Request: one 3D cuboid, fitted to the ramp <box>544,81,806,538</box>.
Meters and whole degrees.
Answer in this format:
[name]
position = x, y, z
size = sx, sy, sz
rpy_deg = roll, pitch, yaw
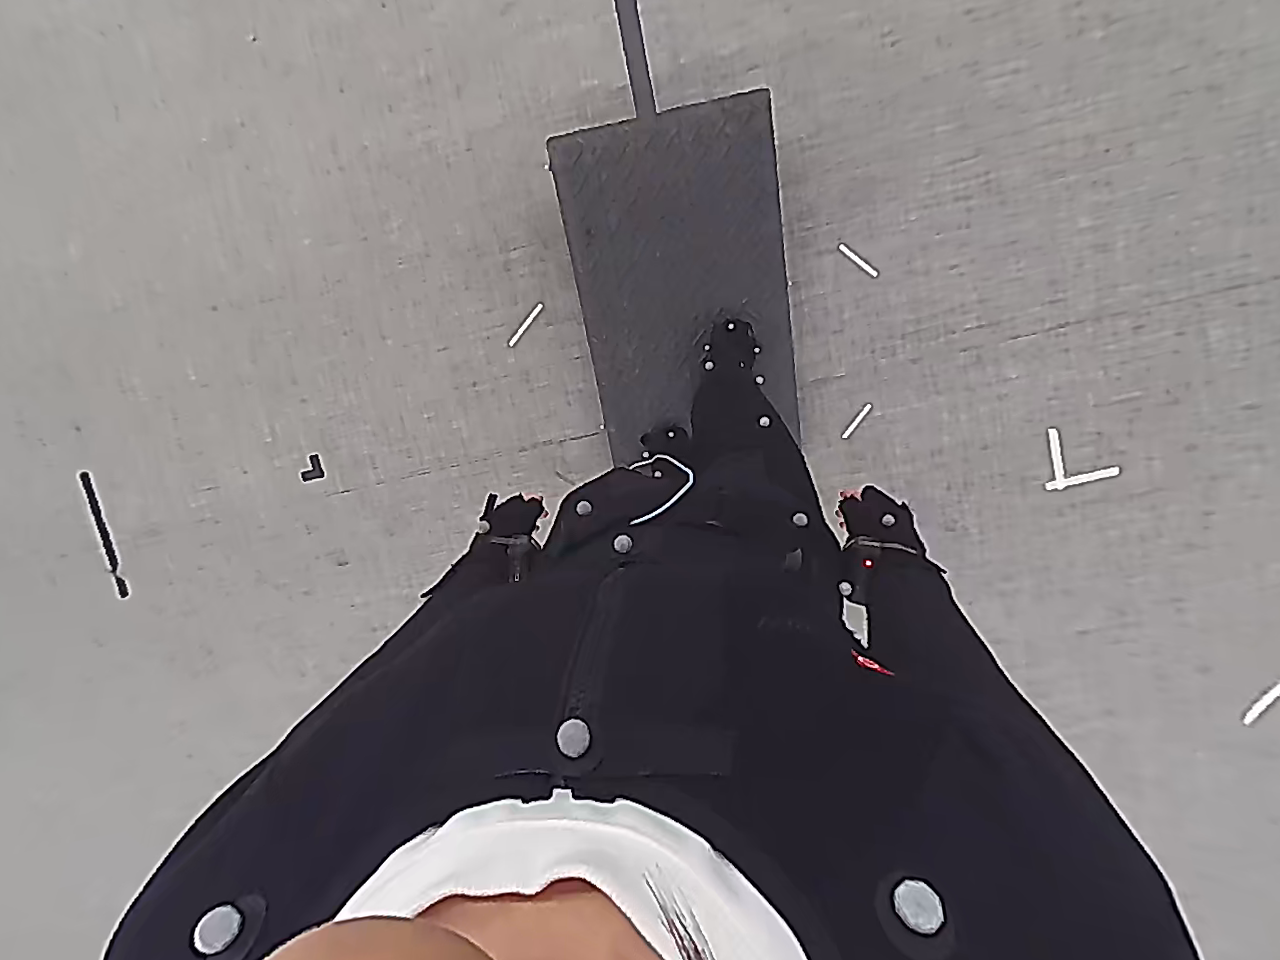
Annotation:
[ramp]
position = 0.121, -0.336, 1.318
size = 0.509, 0.206, 0.991
rpy_deg = -11, 99, 6
